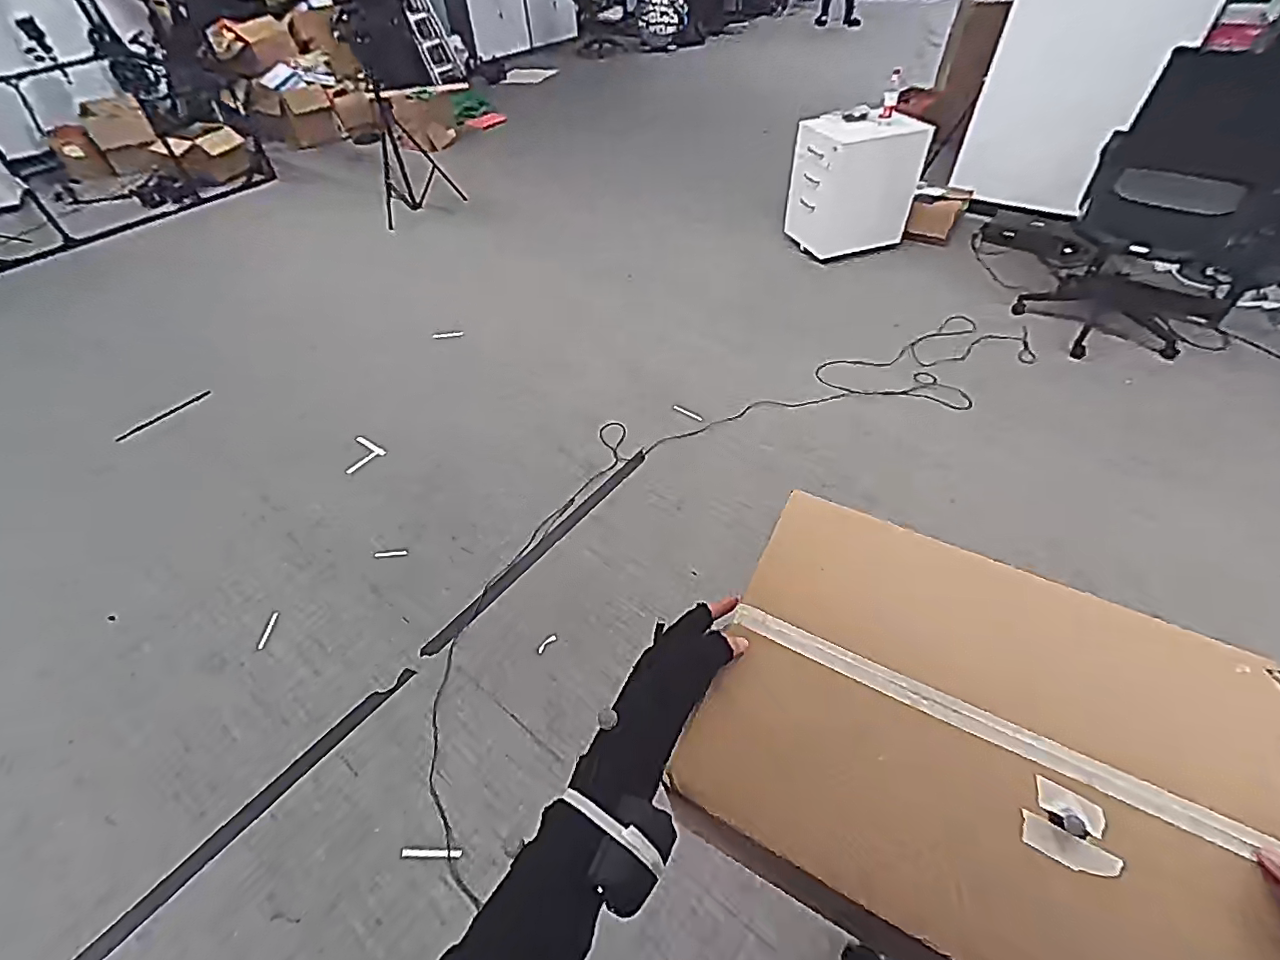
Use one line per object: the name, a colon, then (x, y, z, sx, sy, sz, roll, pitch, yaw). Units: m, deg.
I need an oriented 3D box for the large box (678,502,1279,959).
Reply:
large box: (0.282, 0.286, 0.561, 0.408, 0.320, 0.320, 22, 59, 20)
